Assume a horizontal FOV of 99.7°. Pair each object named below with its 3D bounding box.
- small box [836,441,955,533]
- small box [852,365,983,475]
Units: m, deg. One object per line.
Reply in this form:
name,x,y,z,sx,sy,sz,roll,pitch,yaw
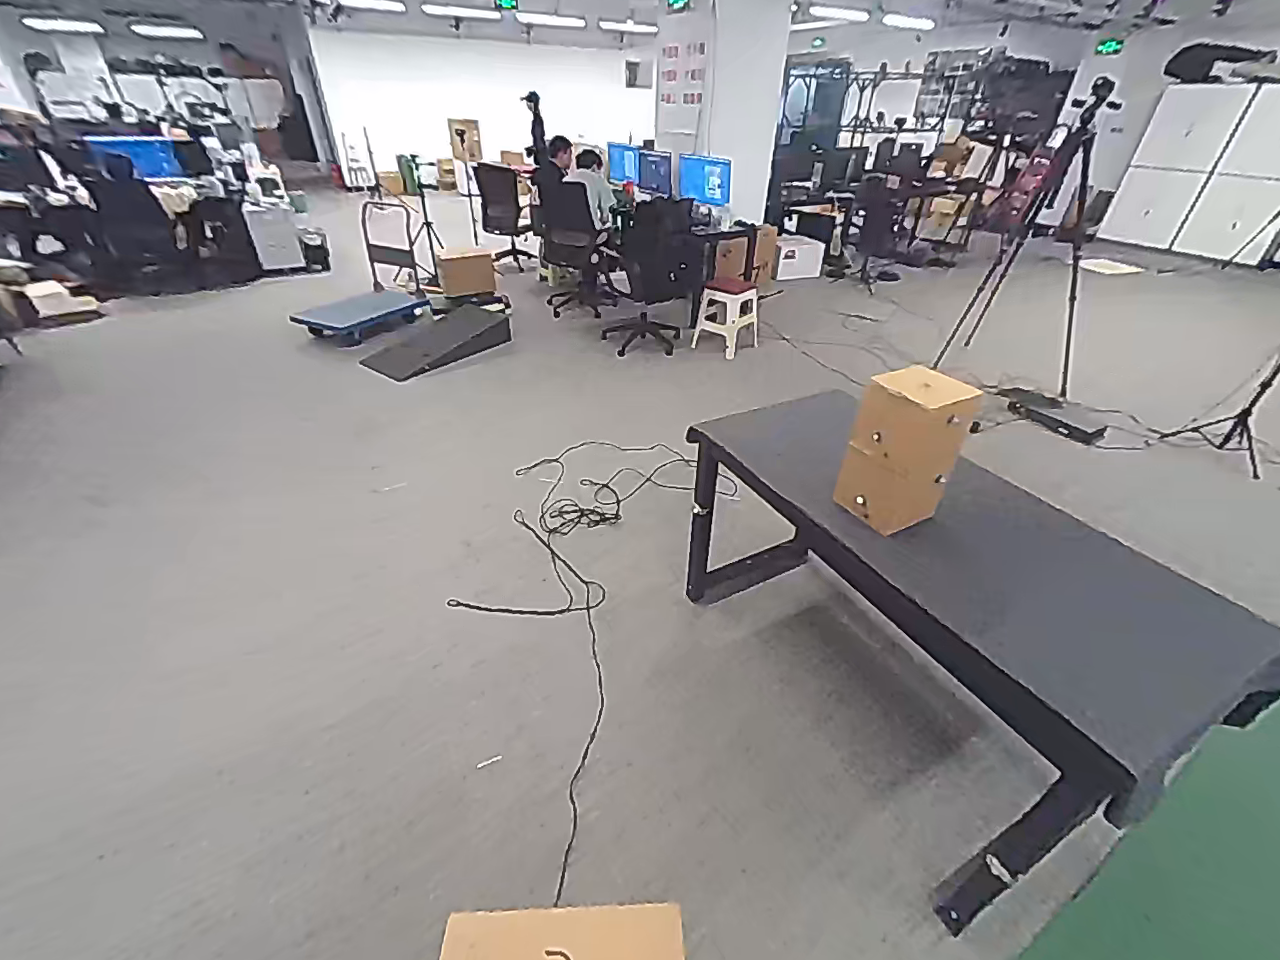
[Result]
small box,0.598,0.000,1.287,0.179,0.176,0.168,-16,38,-25
small box,0.602,-0.134,1.195,0.179,0.176,0.168,-17,39,-24
